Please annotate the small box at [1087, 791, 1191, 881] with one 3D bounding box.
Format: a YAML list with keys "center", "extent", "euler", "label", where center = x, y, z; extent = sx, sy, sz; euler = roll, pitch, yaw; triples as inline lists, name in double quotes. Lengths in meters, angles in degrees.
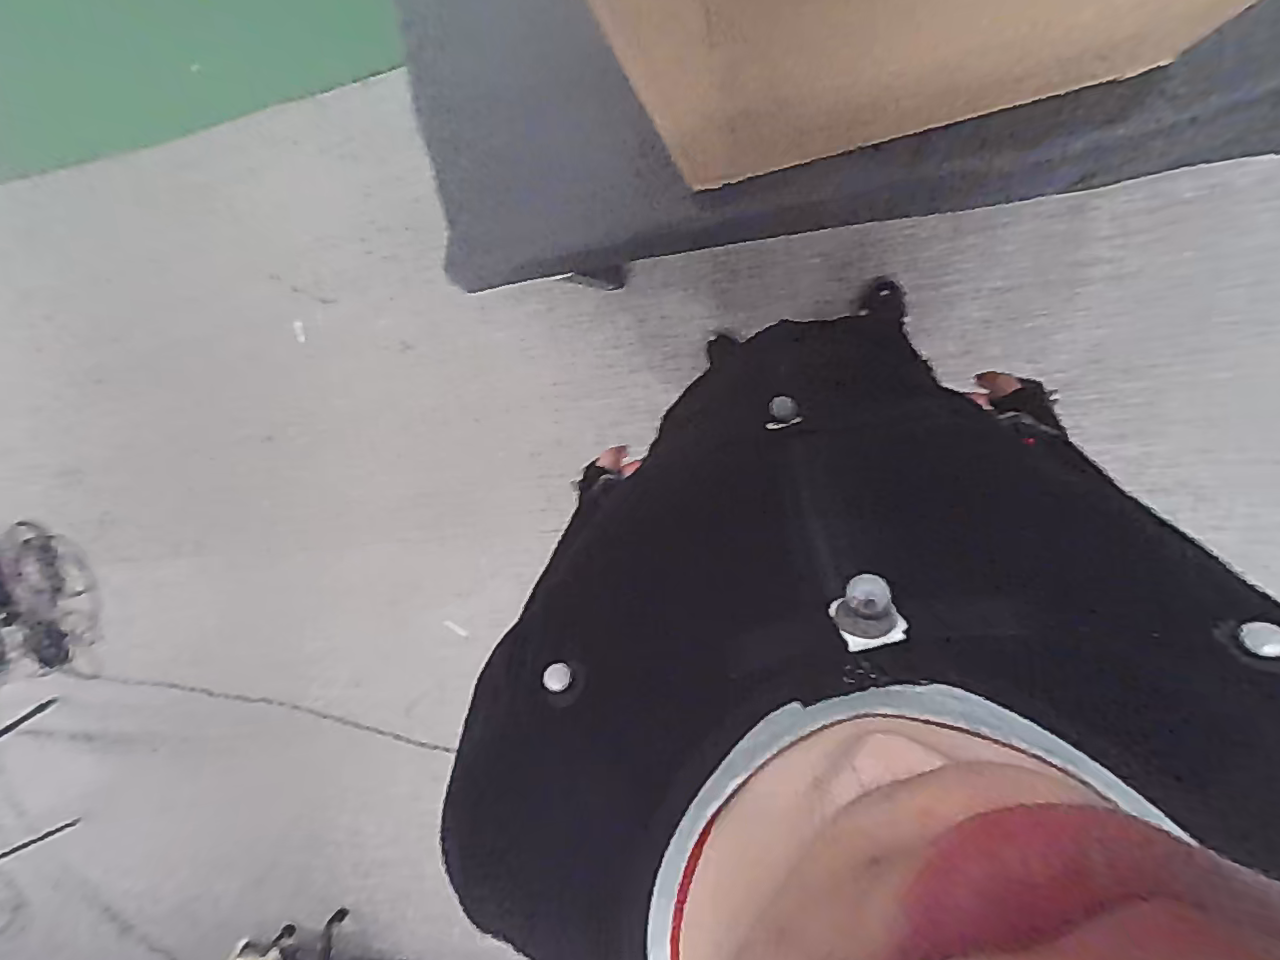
- center: [1.423, 1.018, 1.543]
  extent: [0.168, 0.176, 0.179]
  euler: [-18, 103, 18]
  label: "small box"
